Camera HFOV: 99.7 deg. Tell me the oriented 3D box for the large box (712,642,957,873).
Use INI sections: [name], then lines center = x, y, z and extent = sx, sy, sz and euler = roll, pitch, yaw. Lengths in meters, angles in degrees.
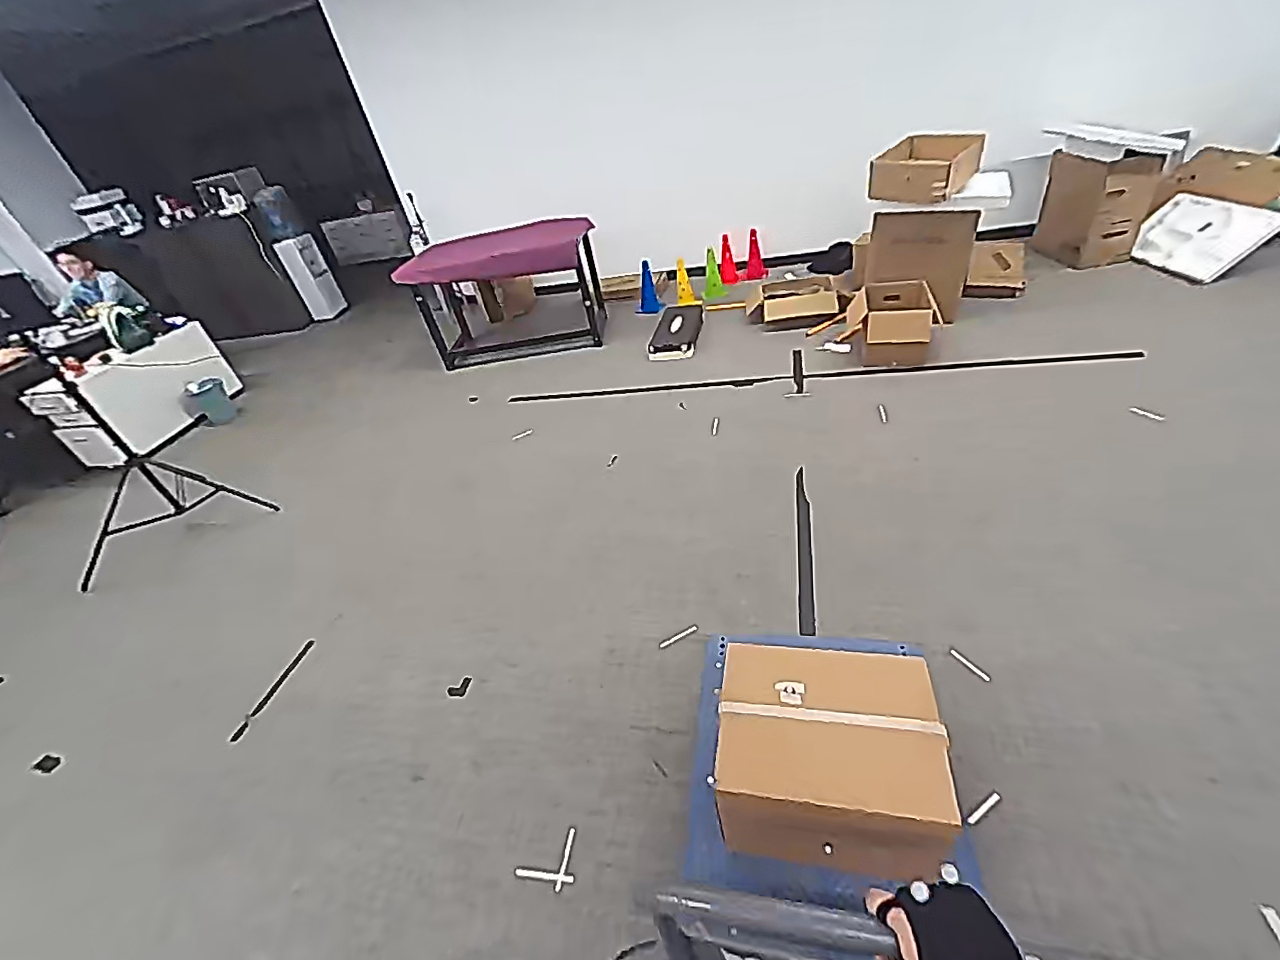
[large box]
center = 0.379, 0.563, 1.121
extent = 0.408, 0.320, 0.320
euler = -2, 37, 16
